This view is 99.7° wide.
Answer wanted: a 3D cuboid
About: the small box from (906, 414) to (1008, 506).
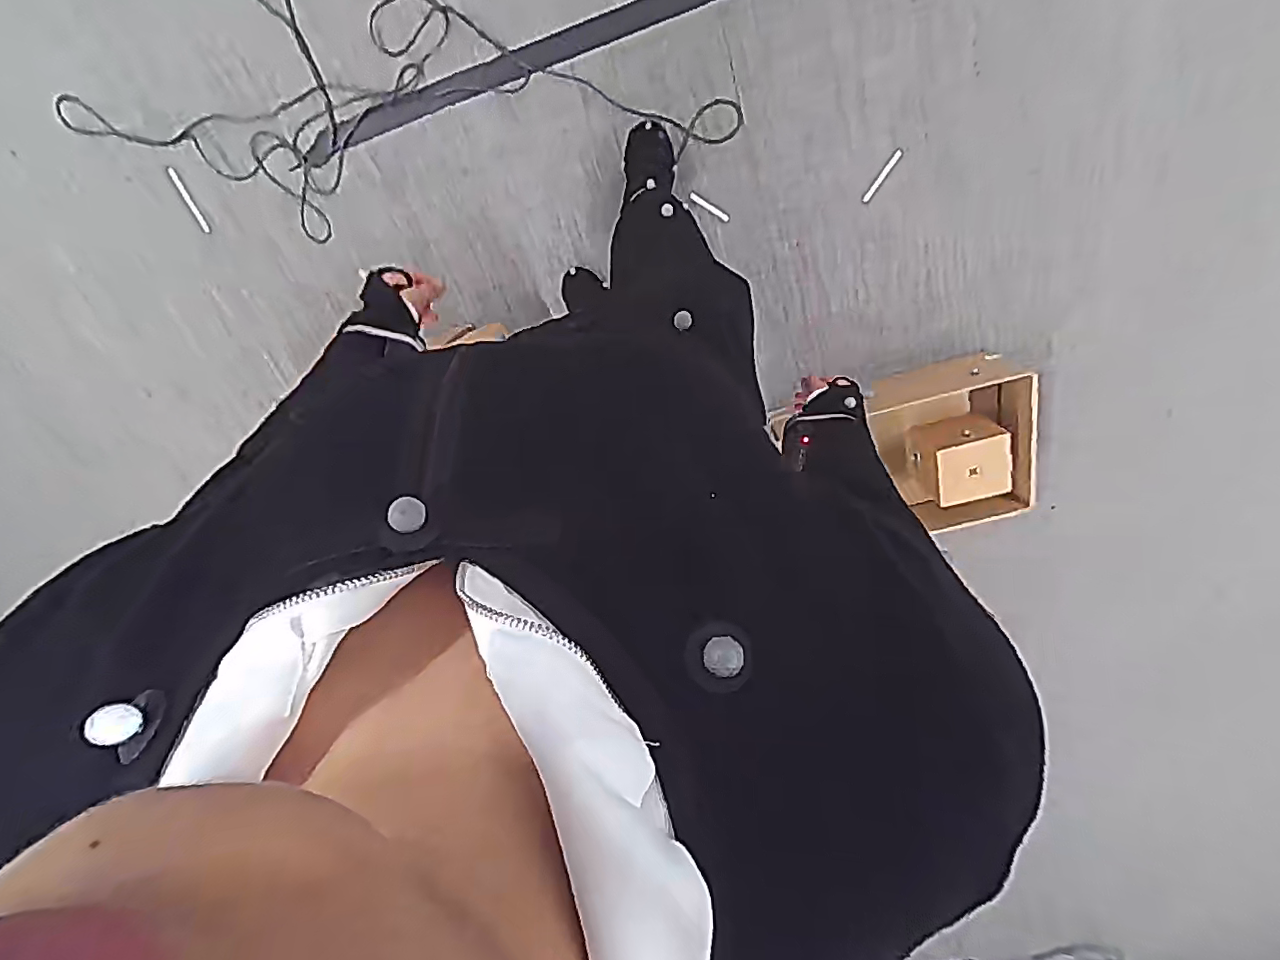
[{"bbox_3d":[0.827,-0.059,1.418,0.179,0.176,0.168,-15,113,10],"label":"small box"}]
